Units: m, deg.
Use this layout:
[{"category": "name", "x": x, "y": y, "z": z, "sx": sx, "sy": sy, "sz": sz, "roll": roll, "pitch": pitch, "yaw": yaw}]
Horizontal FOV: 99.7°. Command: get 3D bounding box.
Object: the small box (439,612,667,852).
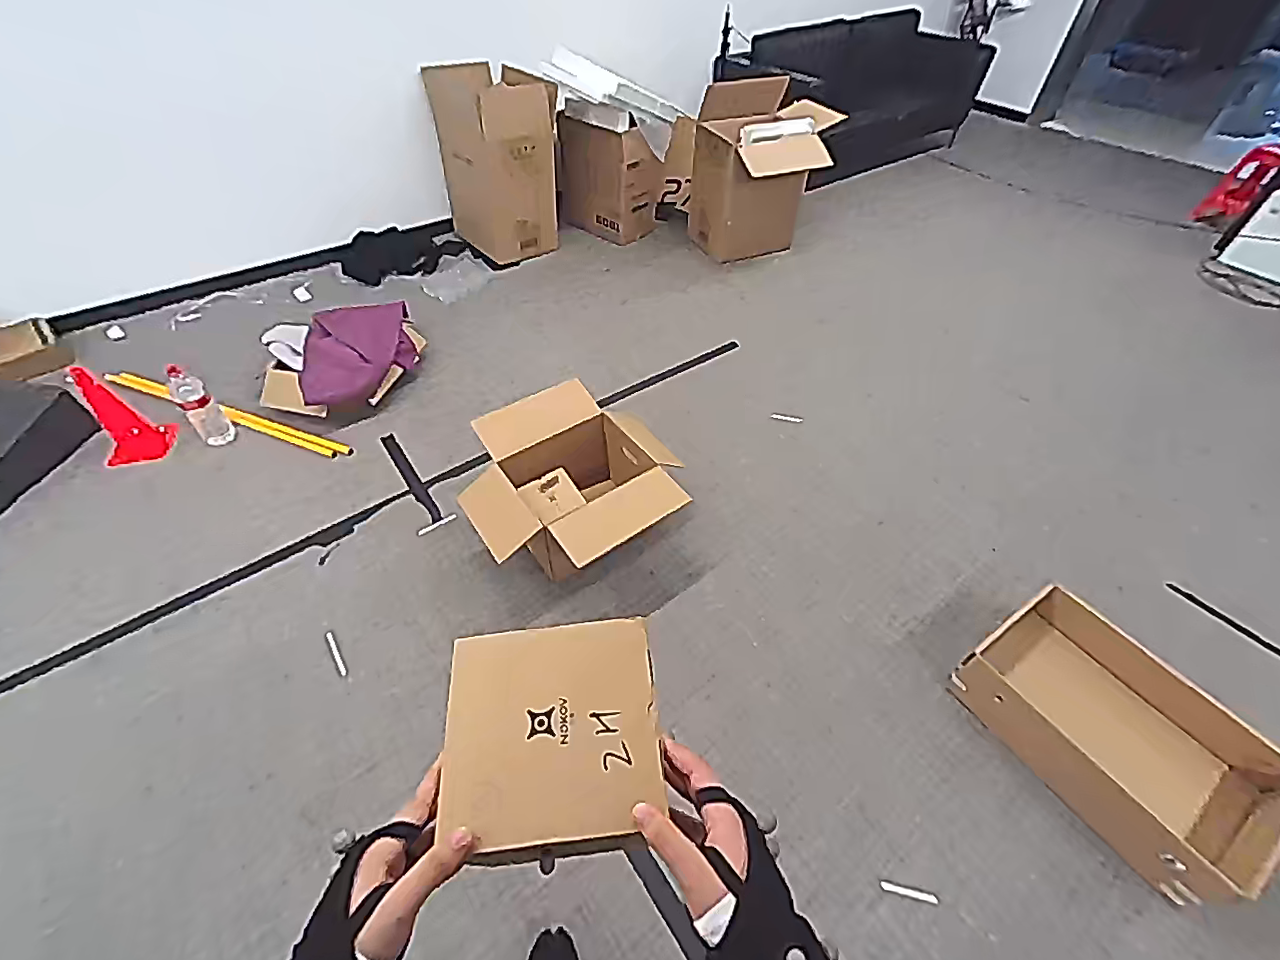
[{"category": "small box", "x": -0.070, "y": 0.244, "z": 0.516, "sx": 0.179, "sy": 0.176, "sz": 0.168, "roll": -6, "pitch": 54, "yaw": -3}]
